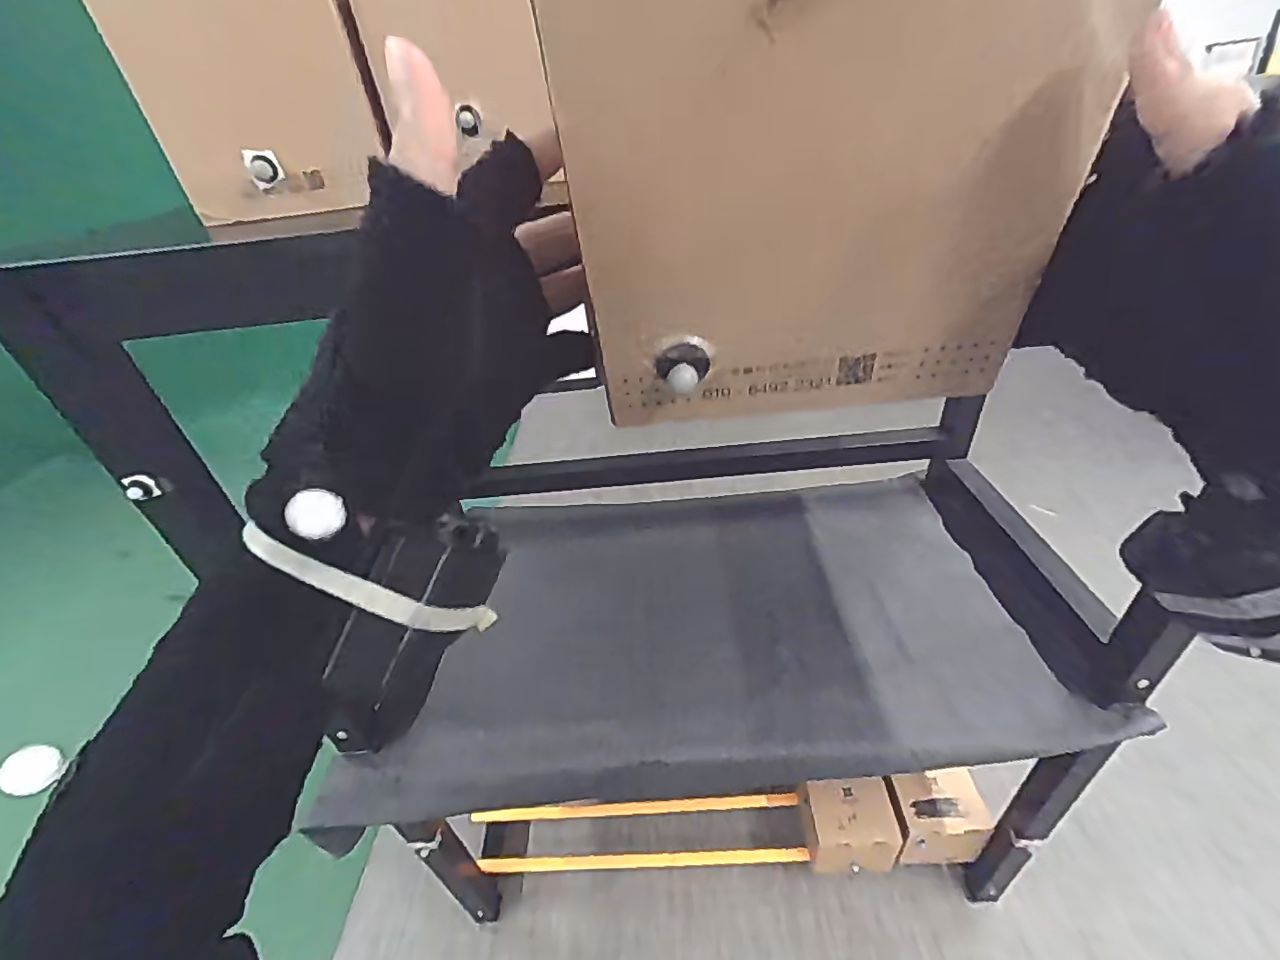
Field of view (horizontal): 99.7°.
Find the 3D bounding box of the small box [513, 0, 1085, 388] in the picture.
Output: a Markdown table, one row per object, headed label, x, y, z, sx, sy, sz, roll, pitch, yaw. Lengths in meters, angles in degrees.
| label | x | y | z | sx | sy | sz | roll | pitch | yaw |
| --- | --- | --- | --- | --- | --- | --- | --- | --- | --- |
| small box | 0.054 | -0.153 | 0.242 | 0.168 | 0.176 | 0.179 | -5 | 45 | 4 |
